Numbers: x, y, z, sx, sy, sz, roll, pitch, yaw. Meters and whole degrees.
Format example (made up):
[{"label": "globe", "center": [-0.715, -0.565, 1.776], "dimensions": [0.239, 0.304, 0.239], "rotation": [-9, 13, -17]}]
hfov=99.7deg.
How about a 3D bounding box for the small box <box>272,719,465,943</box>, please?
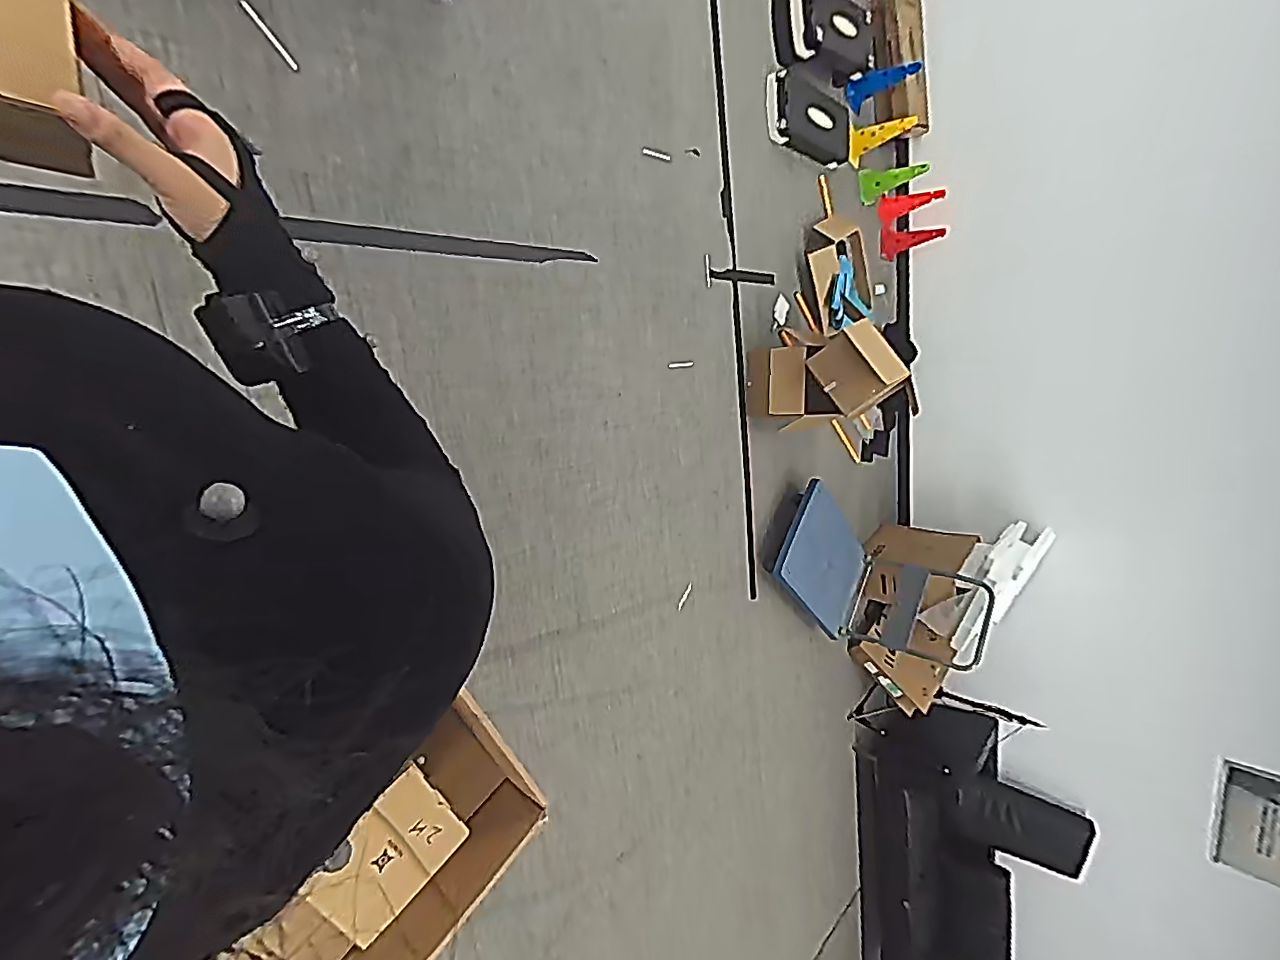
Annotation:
[{"label": "small box", "center": [-0.395, 0.489, 0.780], "dimensions": [0.179, 0.176, 0.168], "rotation": [-39, 119, -34]}]
